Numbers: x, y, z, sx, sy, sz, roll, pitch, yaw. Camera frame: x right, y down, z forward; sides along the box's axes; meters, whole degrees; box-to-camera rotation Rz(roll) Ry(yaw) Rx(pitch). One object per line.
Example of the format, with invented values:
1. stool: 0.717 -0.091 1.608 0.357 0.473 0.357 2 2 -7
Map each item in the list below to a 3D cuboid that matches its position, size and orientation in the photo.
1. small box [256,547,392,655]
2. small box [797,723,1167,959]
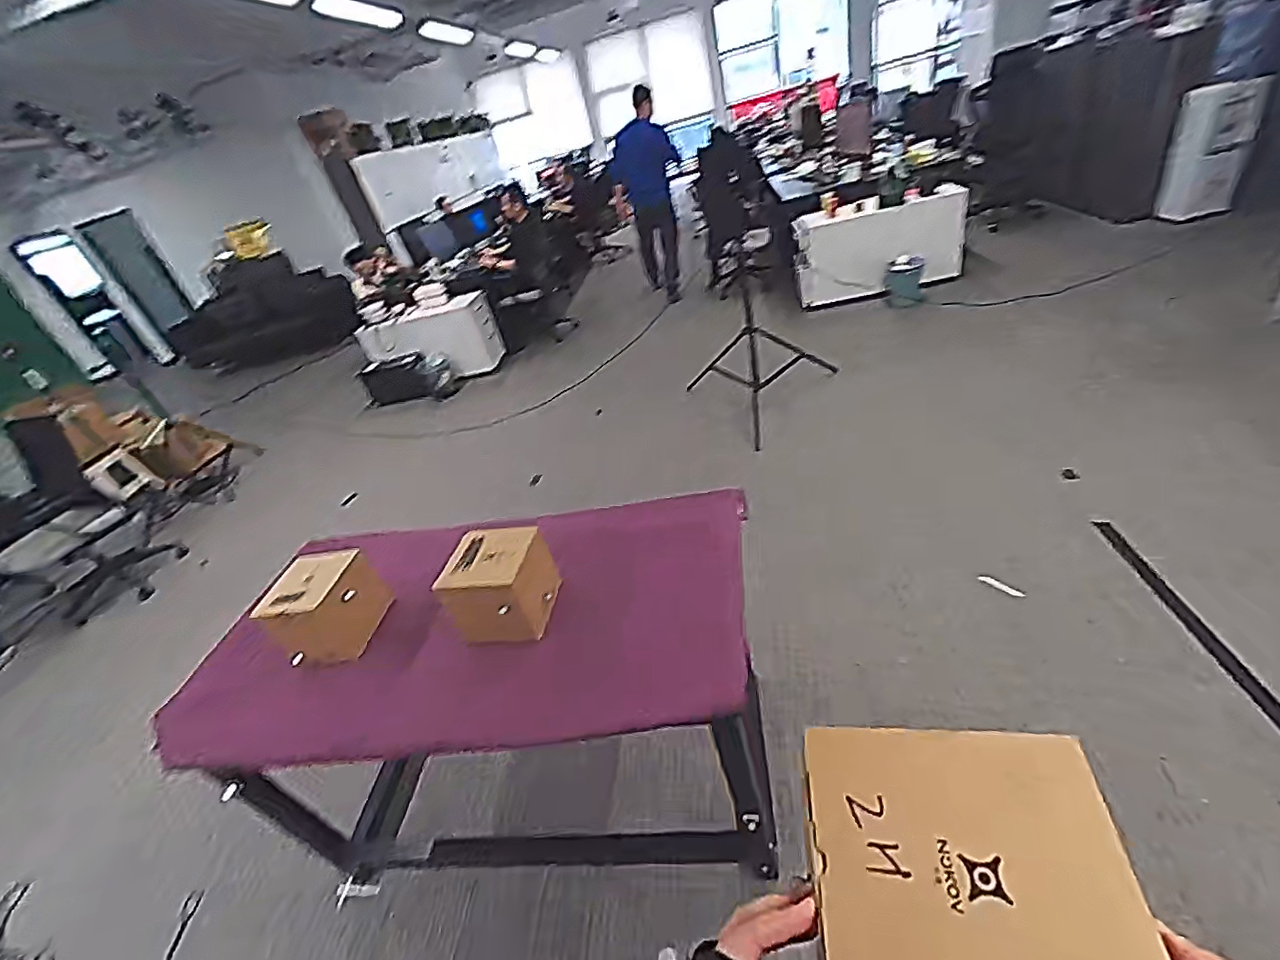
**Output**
1. small box: -0.699 0.279 1.222 0.168 0.176 0.179 -8 35 12
2. small box: 0.205 0.285 0.372 0.179 0.176 0.168 -4 45 13
